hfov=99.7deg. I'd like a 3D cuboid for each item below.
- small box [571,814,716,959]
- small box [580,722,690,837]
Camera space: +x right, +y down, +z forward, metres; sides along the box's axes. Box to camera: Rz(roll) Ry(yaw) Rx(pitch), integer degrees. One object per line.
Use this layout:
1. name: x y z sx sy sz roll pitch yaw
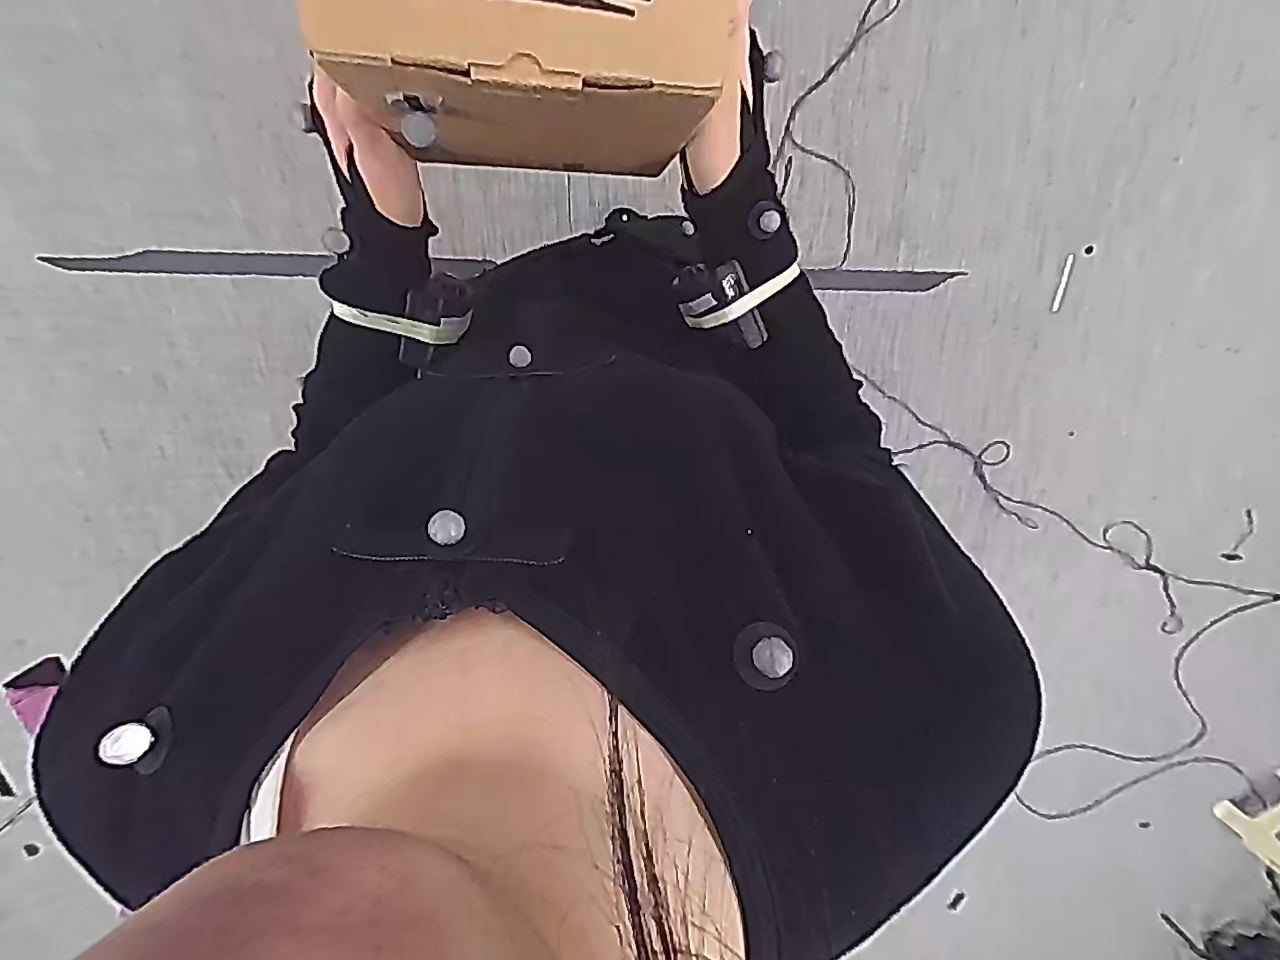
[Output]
1. small box: 0.003 0.600 0.751 0.179 0.176 0.168 -5 115 -3
2. small box: -0.010 0.535 0.899 0.168 0.176 0.179 -3 113 -3
